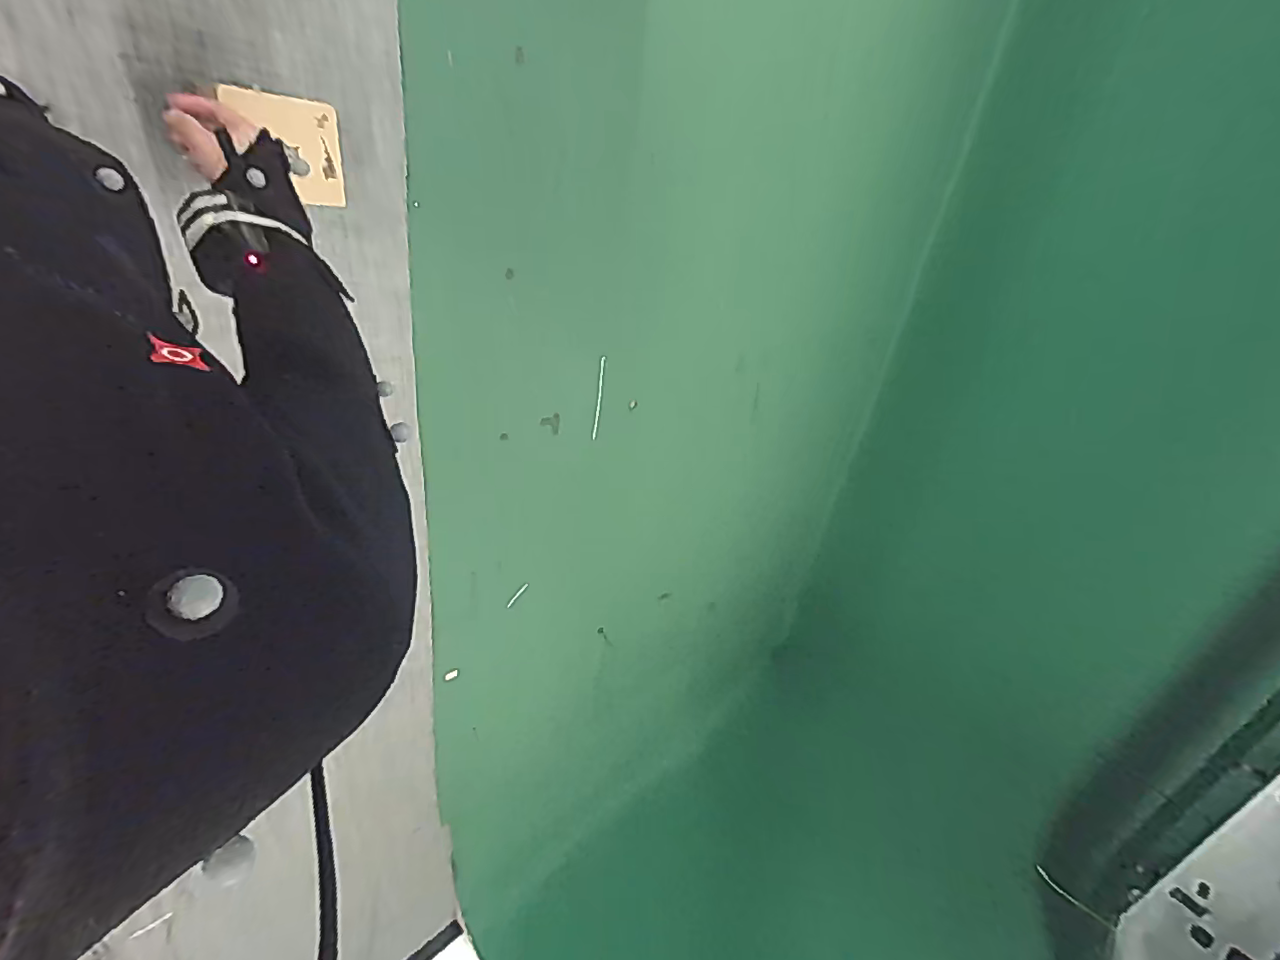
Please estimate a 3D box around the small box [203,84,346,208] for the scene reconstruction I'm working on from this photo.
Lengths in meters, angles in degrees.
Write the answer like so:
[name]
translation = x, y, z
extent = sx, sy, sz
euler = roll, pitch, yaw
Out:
[small box]
translation = -0.667, -0.601, 0.986
extent = 0.179, 0.176, 0.168
euler = -19, 127, -41
